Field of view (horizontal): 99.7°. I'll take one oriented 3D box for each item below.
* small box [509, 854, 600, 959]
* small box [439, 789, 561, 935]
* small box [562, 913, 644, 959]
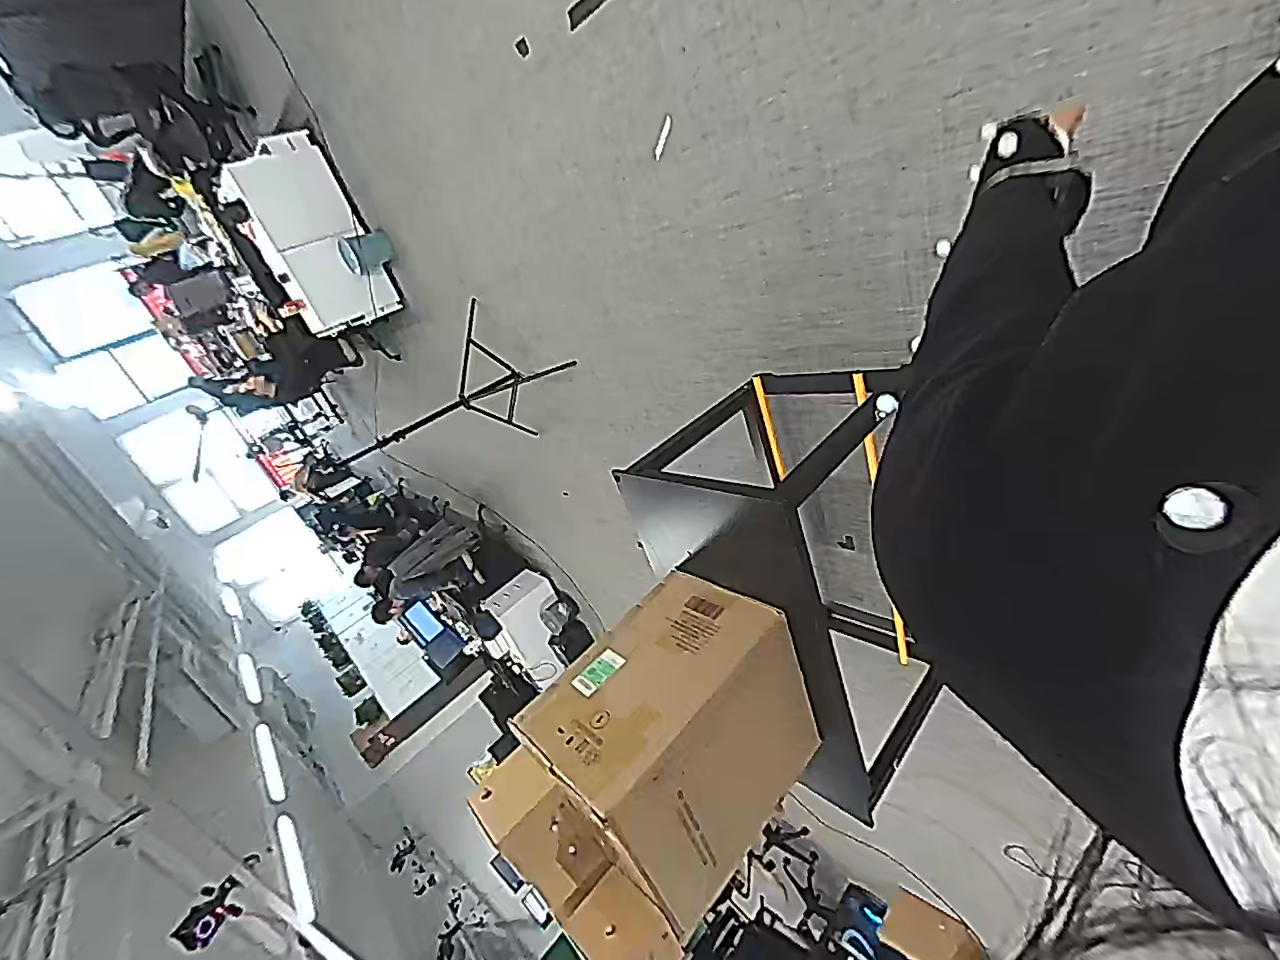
[{"bbox_3d":[-0.201,1.067,1.306,0.168,0.176,0.179,13,130,49],"label":"small box"},{"bbox_3d":[-0.305,0.825,1.192,0.179,0.176,0.168,11,132,51],"label":"small box"},{"bbox_3d":[-0.071,1.086,1.149,0.179,0.176,0.168,3,121,49],"label":"small box"}]
